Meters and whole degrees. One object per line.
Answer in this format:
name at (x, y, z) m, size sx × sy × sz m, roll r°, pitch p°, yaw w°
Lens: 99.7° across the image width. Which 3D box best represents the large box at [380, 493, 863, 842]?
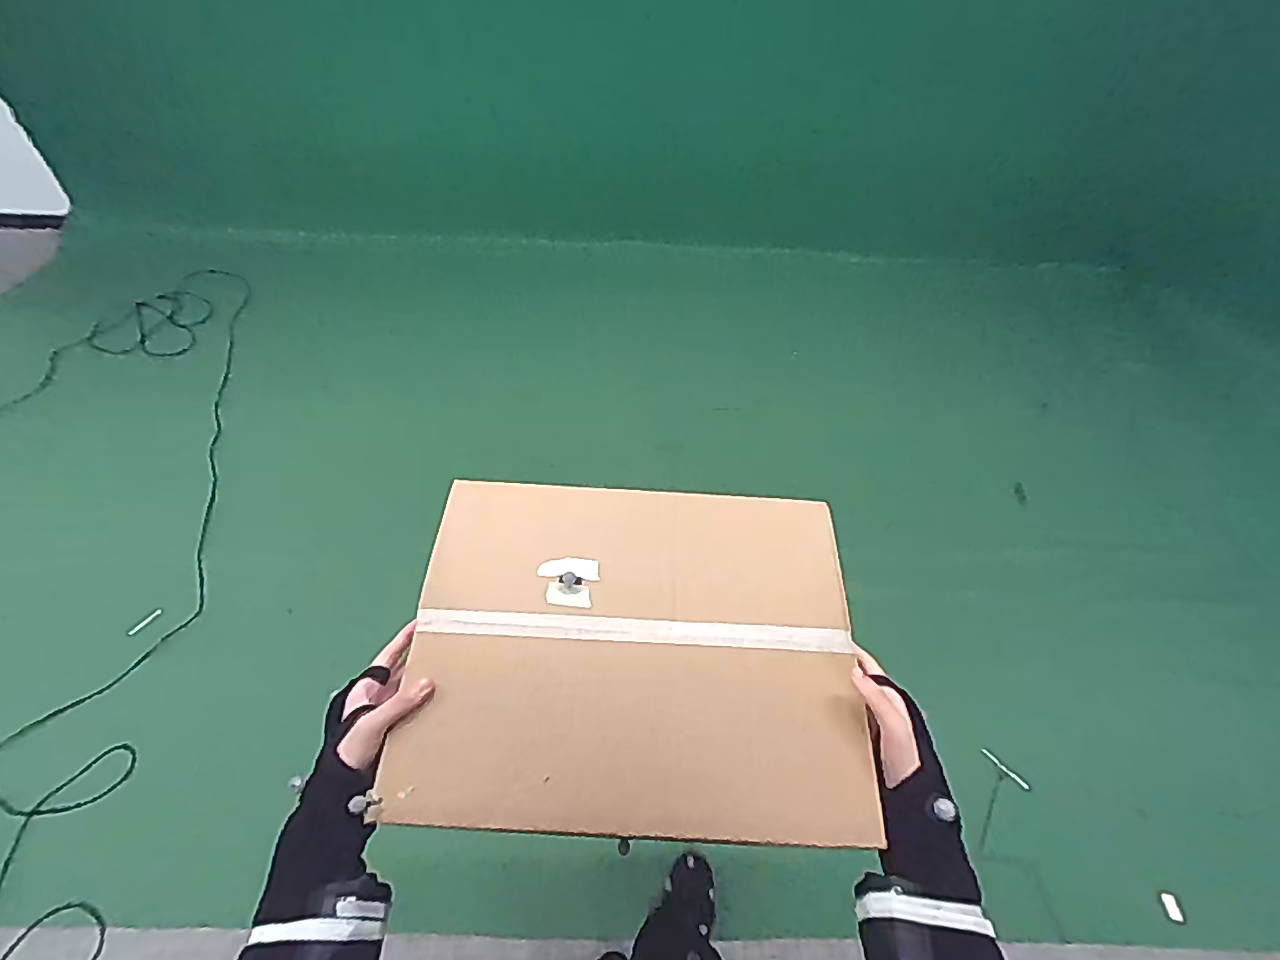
large box at (-0.011, 0.231, 0.643) m, size 0.408 × 0.320 × 0.320 m, roll 3°, pitch 57°, yaw 0°
